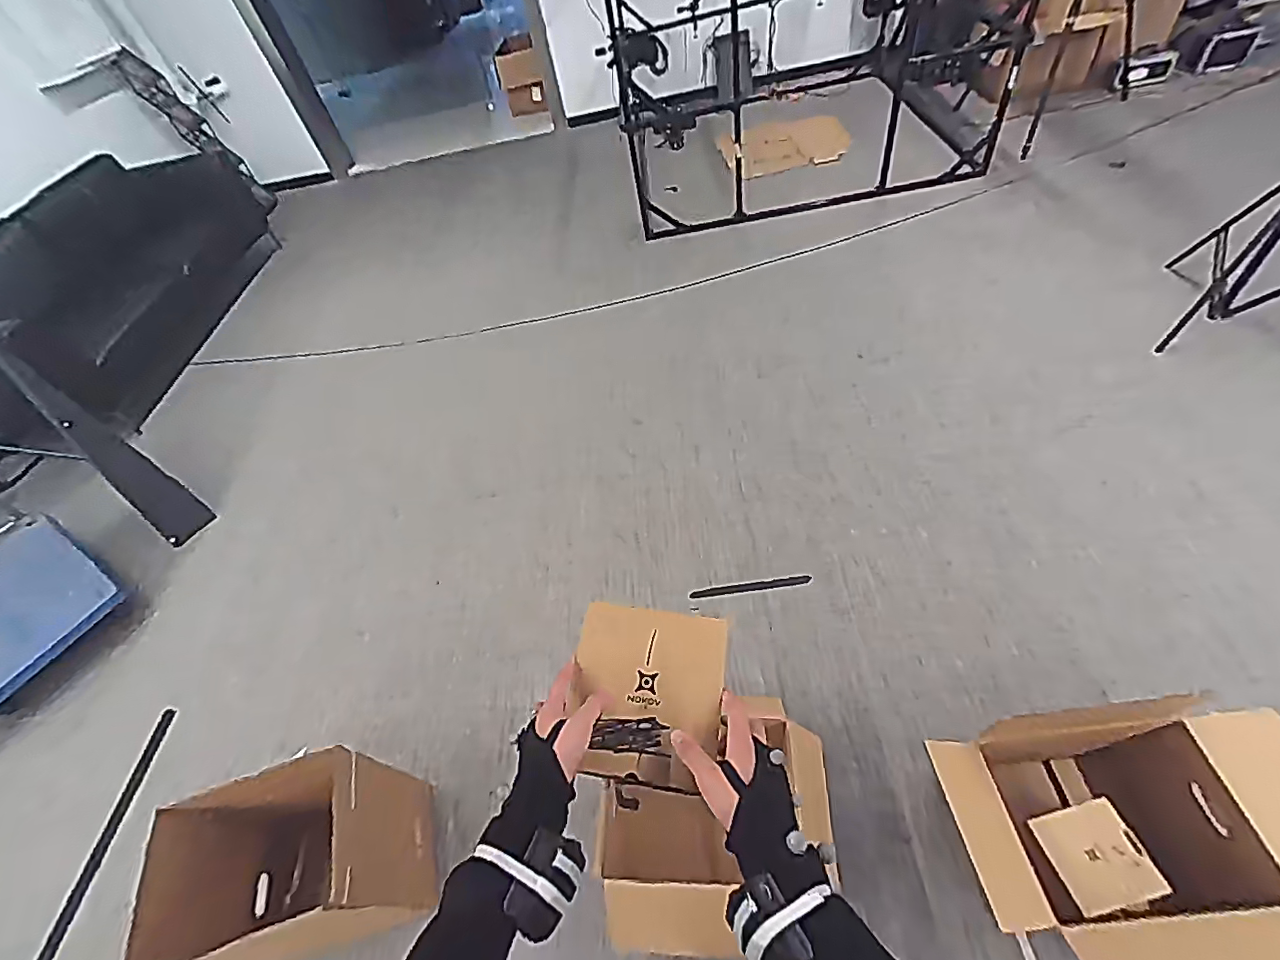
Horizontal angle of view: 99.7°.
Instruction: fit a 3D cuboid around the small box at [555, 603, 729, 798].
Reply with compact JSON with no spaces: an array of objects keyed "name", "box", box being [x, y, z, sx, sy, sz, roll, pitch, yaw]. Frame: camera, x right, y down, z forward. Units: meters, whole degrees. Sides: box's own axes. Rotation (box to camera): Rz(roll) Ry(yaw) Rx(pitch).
[{"name":"small box","box":[0.016,0.265,0.643,0.168,0.176,0.179,5,60,11]}]
